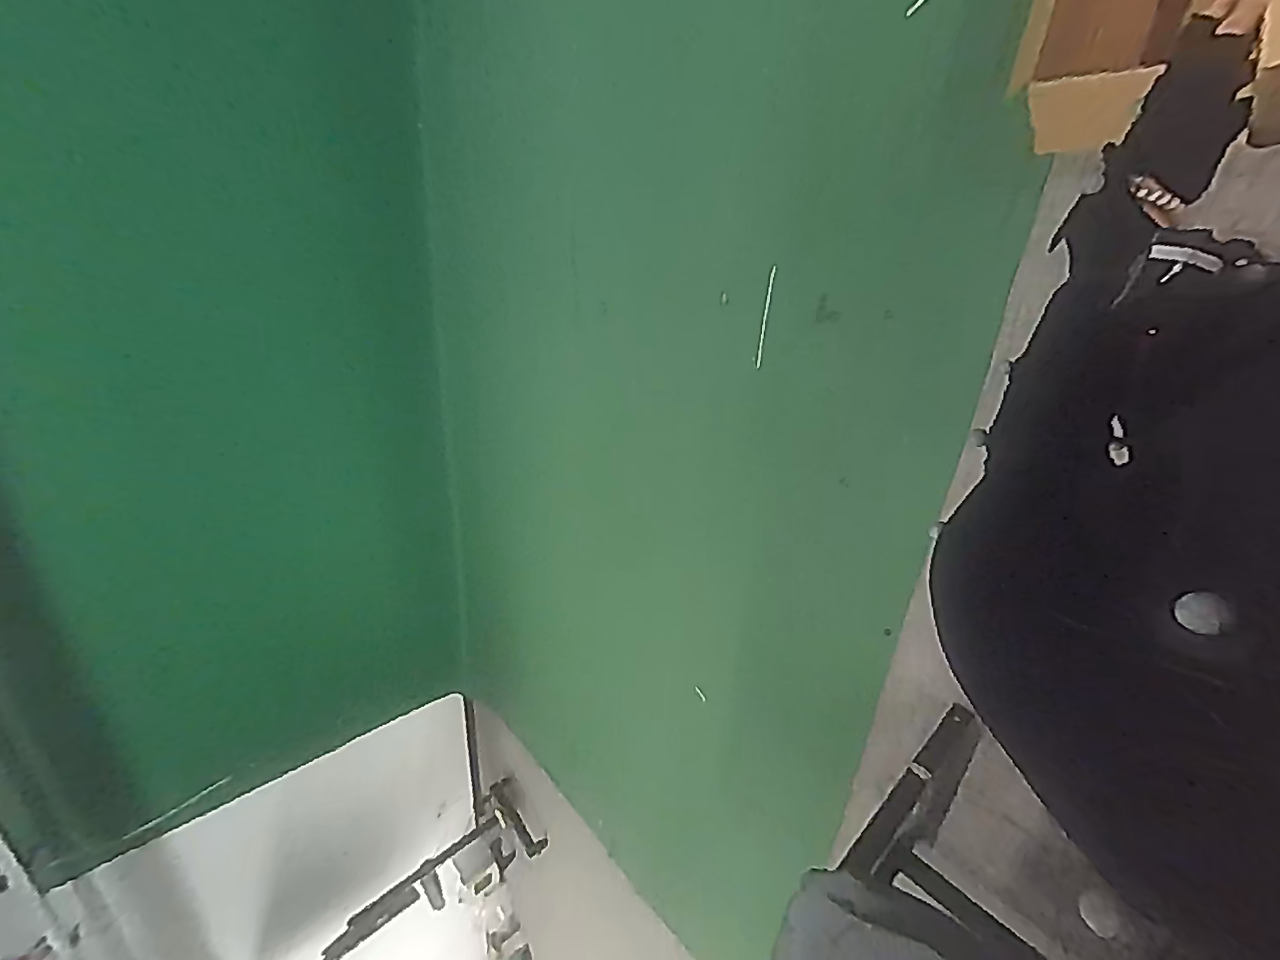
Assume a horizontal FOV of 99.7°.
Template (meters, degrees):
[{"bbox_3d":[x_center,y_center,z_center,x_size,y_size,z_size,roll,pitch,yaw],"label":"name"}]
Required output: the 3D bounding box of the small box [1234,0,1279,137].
[{"bbox_3d":[0.471,-0.327,0.298,0.179,0.176,0.168,7,102,45],"label":"small box"}]
